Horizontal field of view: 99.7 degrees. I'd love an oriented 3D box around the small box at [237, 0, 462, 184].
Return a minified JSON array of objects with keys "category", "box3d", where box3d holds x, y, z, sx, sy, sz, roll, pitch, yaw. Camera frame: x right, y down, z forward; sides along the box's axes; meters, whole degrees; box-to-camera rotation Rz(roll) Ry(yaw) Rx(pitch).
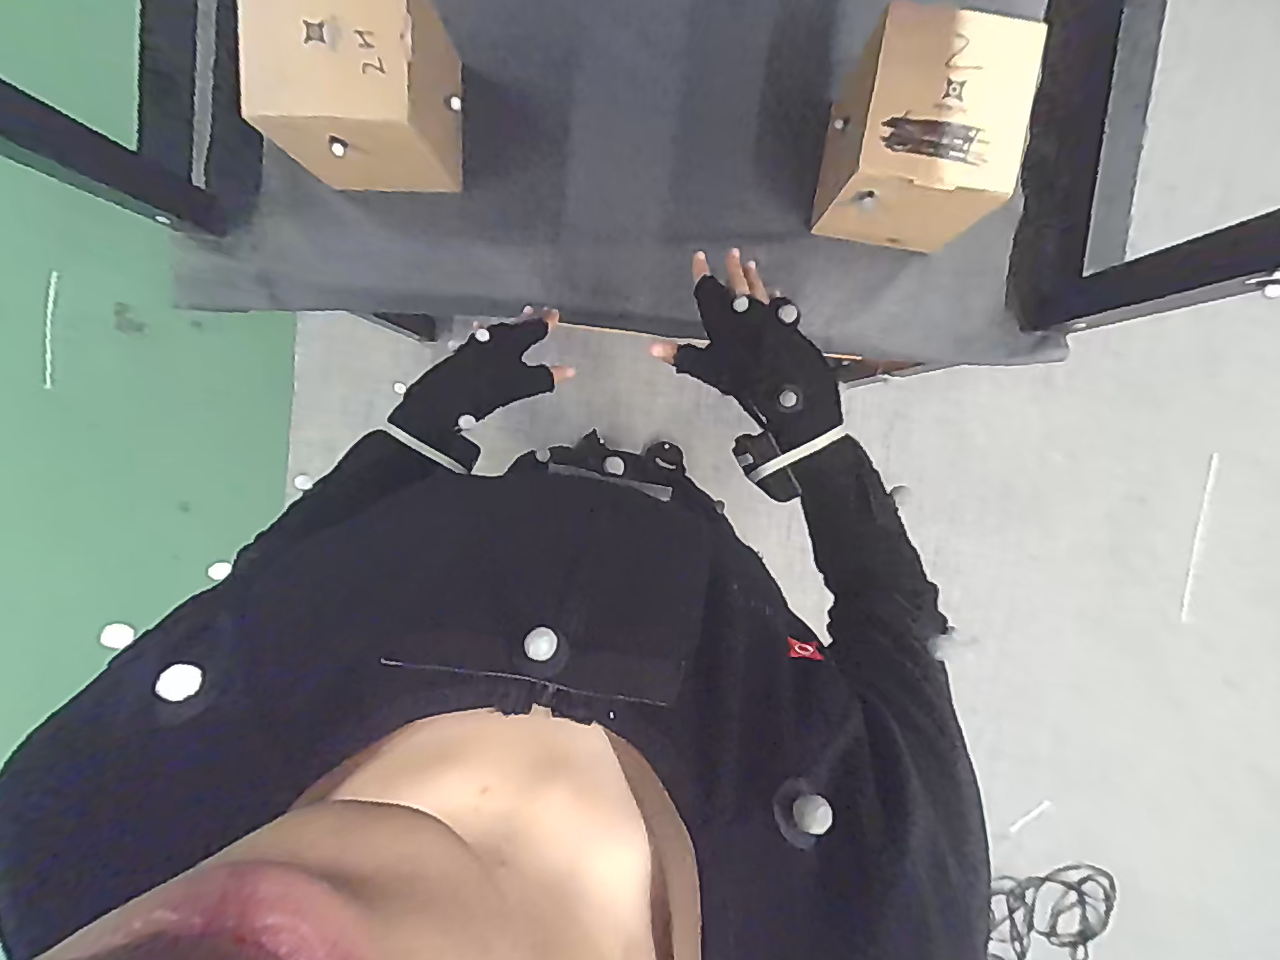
[{"category":"small box","box3d":[-0.323,-0.467,0.629,0.179,0.176,0.168,2,96,-1]}]
